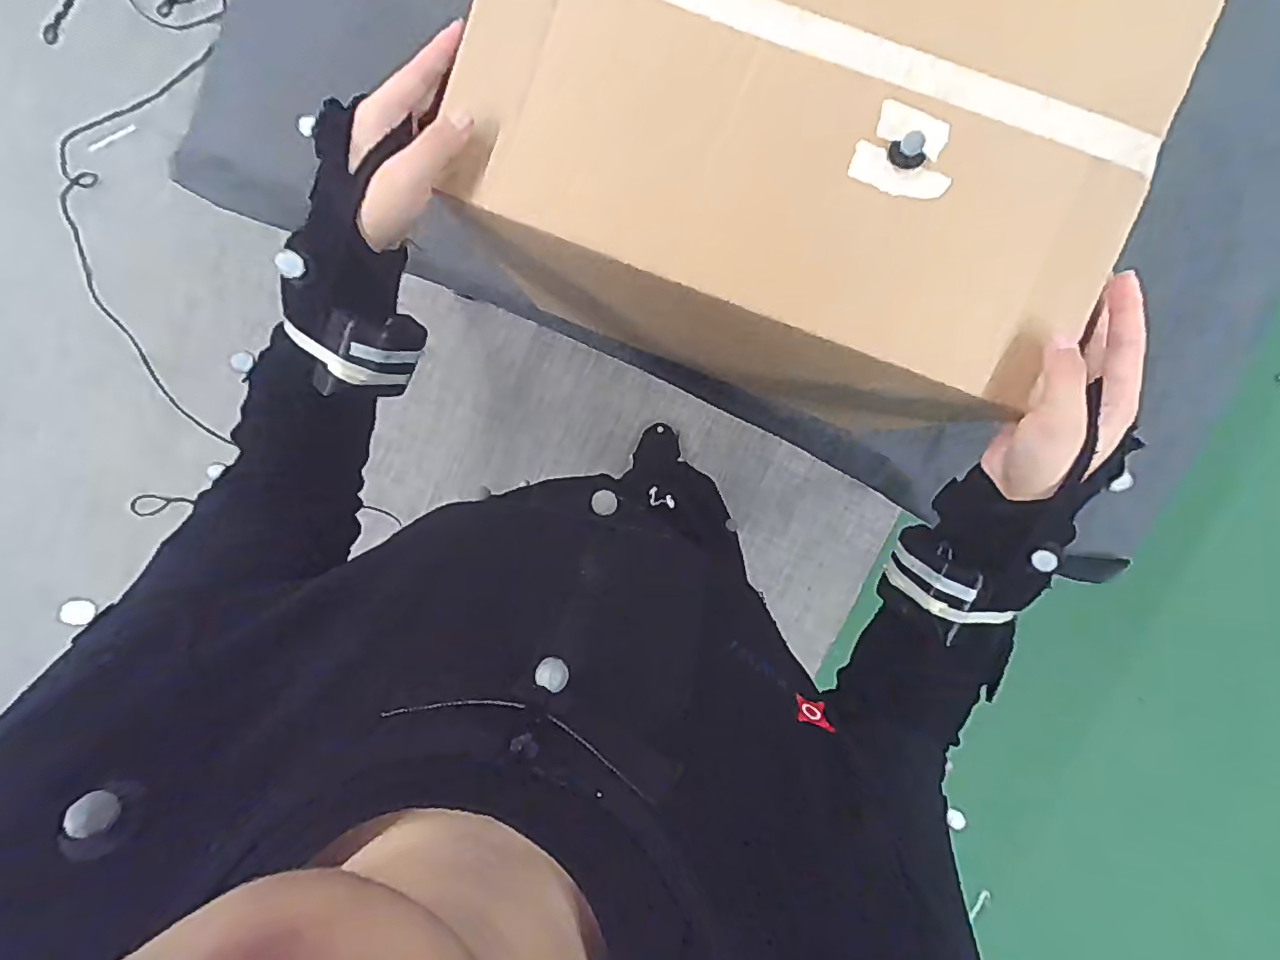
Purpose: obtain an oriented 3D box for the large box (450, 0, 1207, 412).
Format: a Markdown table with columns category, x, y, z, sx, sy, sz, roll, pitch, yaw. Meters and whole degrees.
| category | x | y | z | sx | sy | sz | roll | pitch | yaw |
| --- | --- | --- | --- | --- | --- | --- | --- | --- | --- |
| large box | 0.117 | -0.275 | 0.474 | 0.408 | 0.320 | 0.320 | 21 | 95 | -1 |
